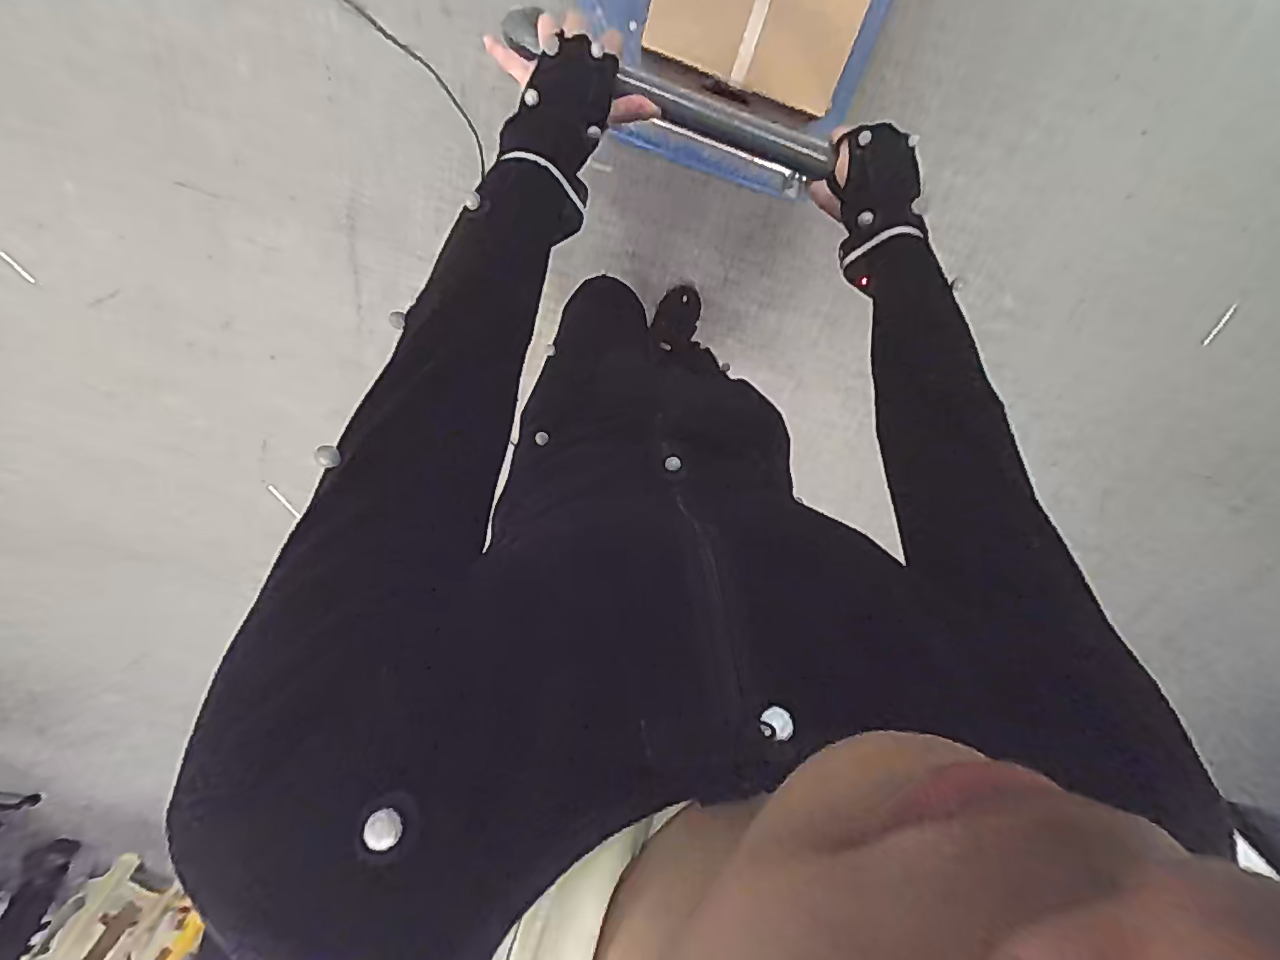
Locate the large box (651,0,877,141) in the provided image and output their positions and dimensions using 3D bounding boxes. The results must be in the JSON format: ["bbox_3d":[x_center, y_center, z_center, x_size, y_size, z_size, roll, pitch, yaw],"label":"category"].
[{"bbox_3d":[0.221,-0.854,0.900,0.320,0.320,0.408,17,114,-7],"label":"large box"}]
